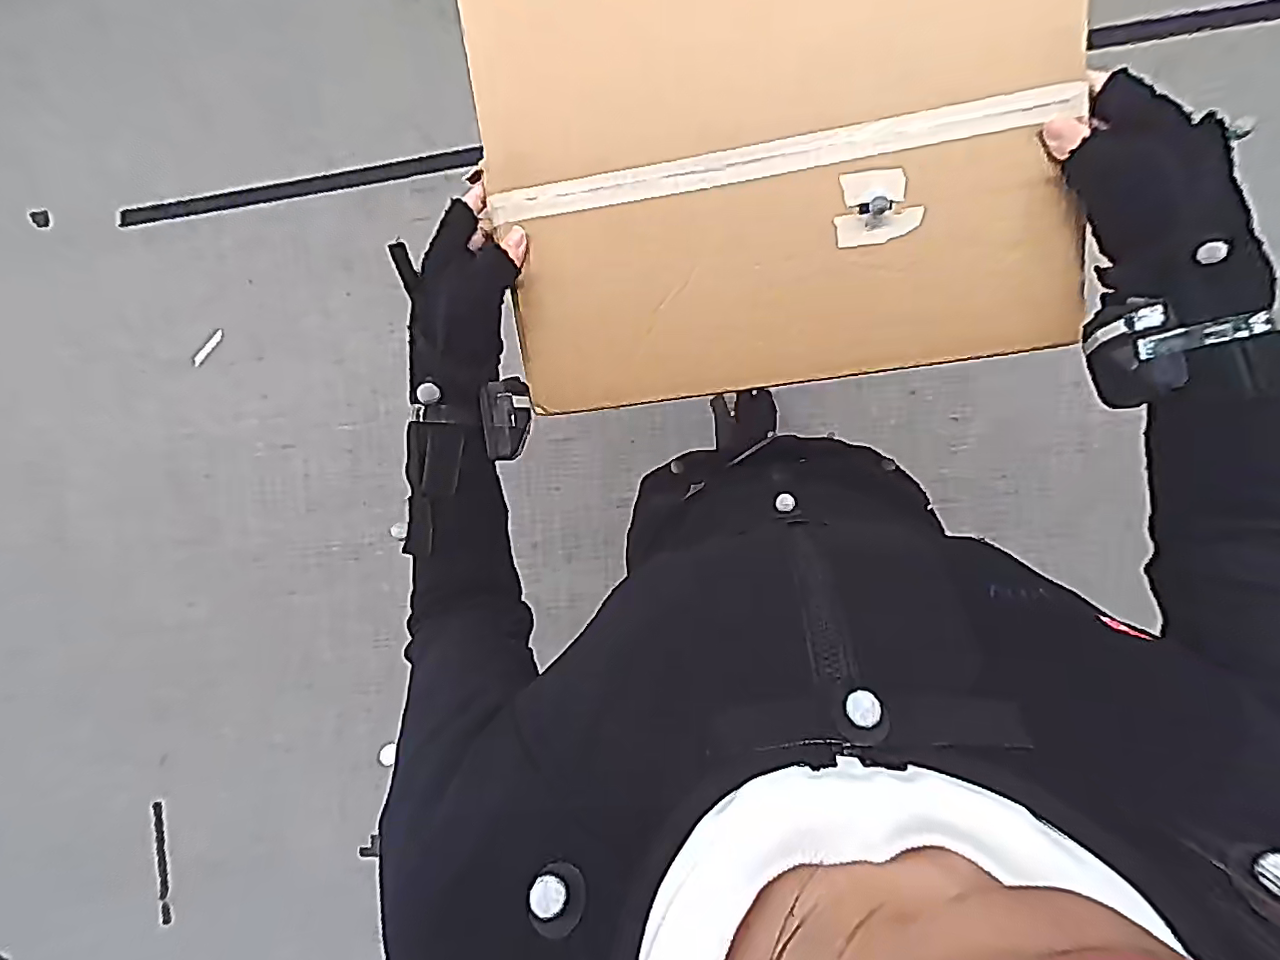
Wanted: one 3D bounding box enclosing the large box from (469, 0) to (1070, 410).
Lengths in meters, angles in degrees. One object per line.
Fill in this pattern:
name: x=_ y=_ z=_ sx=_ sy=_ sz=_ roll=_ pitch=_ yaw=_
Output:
large box: x=0.106 y=-0.263 z=0.536 sx=0.408 sy=0.320 sz=0.320 roll=-8 pitch=102 yaw=6
